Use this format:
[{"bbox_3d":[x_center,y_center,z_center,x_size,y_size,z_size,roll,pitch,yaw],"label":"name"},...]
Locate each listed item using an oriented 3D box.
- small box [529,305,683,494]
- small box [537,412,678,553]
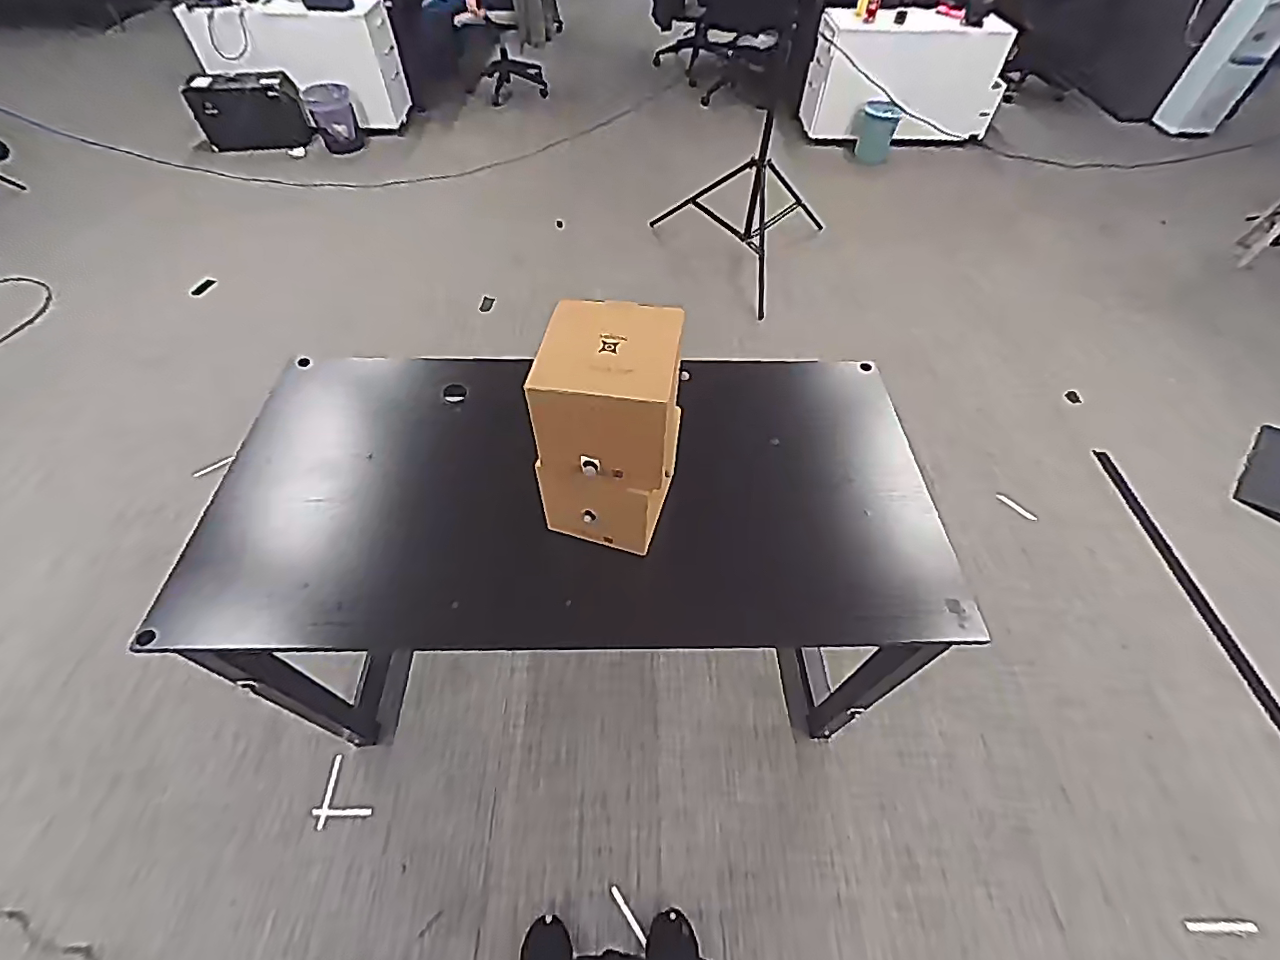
[{"bbox_3d":[-0.037,-0.106,0.723,0.168,0.176,0.179,6,54,5],"label":"small box"},{"bbox_3d":[-0.044,-0.009,0.854,0.168,0.176,0.179,15,53,9],"label":"small box"}]
